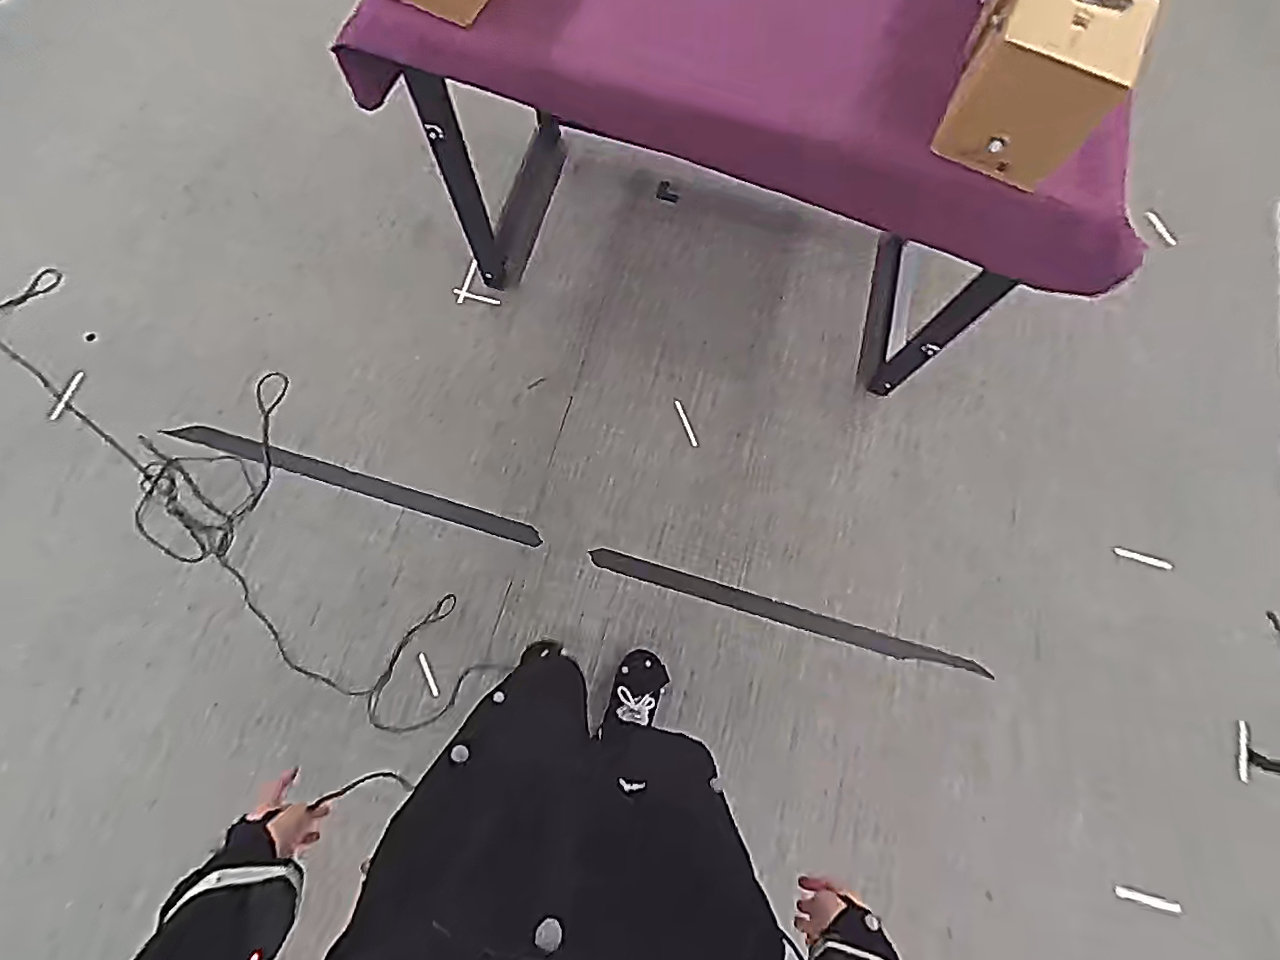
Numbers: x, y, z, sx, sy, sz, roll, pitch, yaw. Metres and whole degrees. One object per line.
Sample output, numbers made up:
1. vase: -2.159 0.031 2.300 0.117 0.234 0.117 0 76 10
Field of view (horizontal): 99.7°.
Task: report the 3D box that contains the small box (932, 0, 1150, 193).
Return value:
1. small box: 0.552 -0.558 0.767 0.168 0.176 0.179 27 76 6
